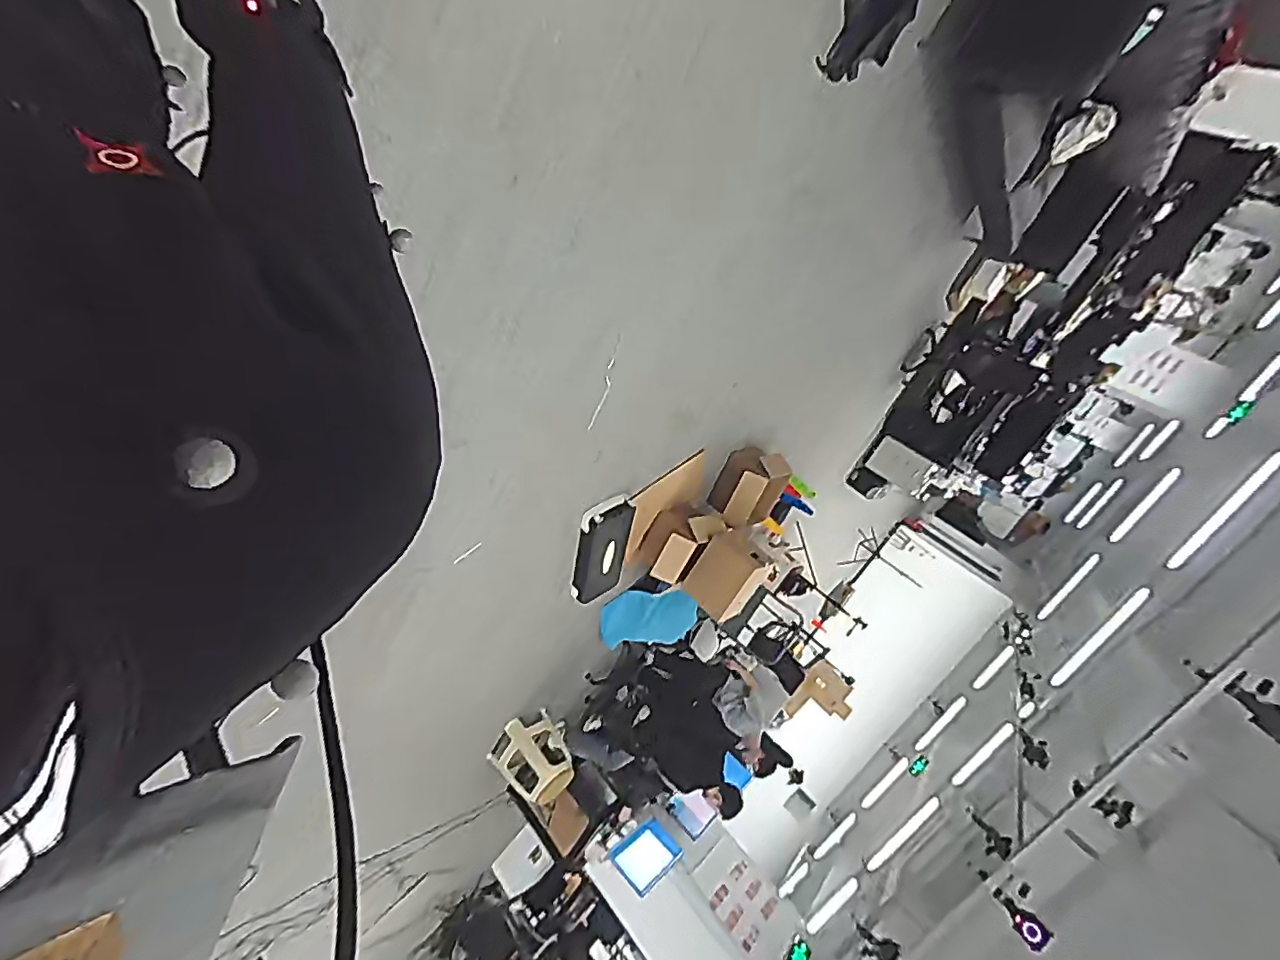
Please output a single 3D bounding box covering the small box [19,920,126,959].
[{"bbox_3d":[-0.902,0.837,0.827,0.168,0.176,0.179,-4,127,-52],"label":"small box"}]
